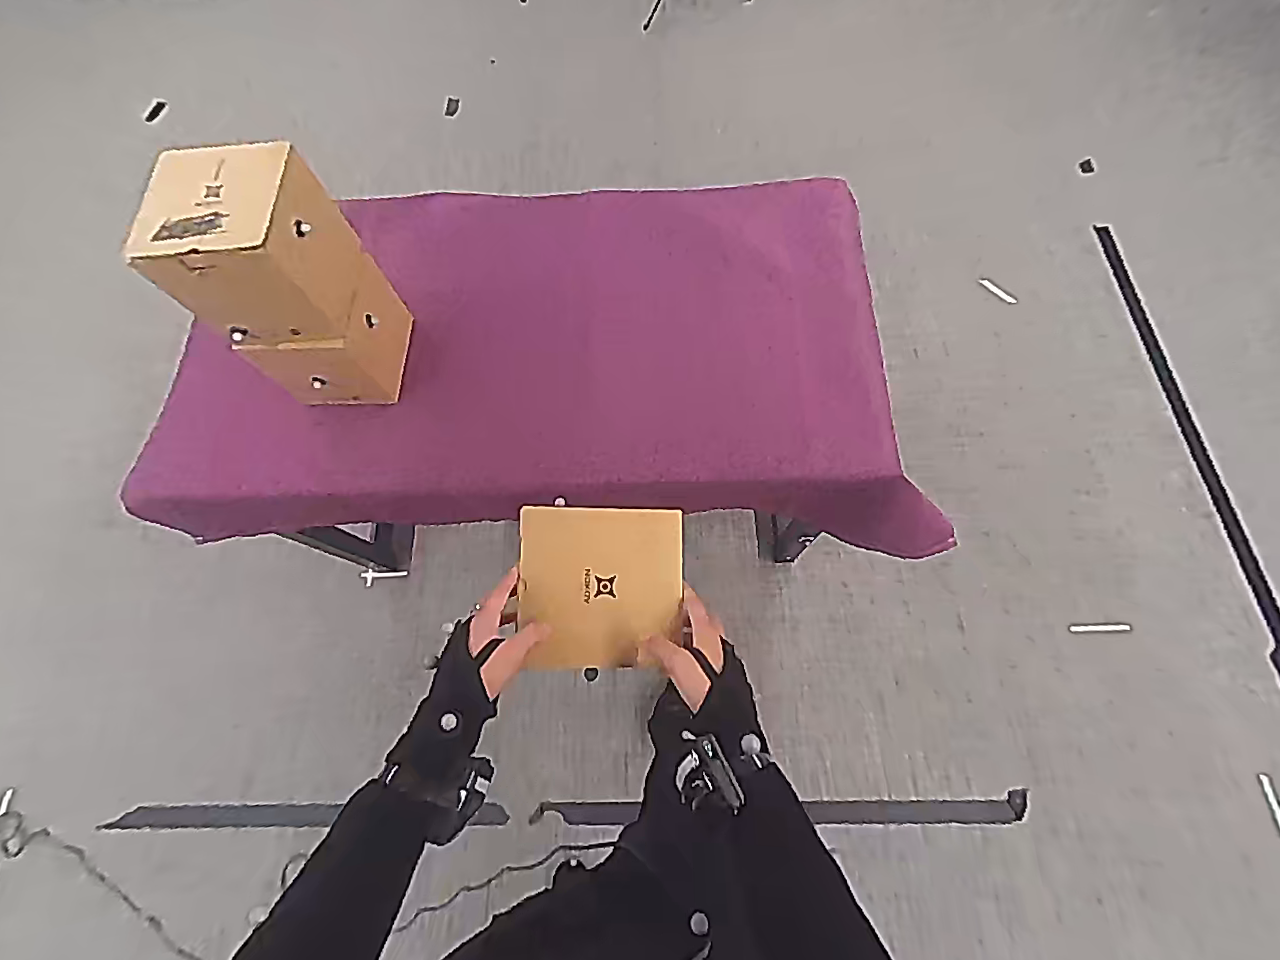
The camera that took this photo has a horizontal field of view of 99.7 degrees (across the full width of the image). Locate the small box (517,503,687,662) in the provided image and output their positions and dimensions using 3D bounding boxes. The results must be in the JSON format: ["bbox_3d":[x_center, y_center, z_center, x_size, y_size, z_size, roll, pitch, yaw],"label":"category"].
[{"bbox_3d":[-0.044,0.121,0.646,0.179,0.176,0.168,1,79,-3],"label":"small box"}]

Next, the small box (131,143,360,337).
[{"bbox_3d":[-0.499,-0.304,0.717,0.168,0.176,0.179,-3,69,1],"label":"small box"}]

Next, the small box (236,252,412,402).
[{"bbox_3d":[-0.488,-0.236,0.867,0.168,0.176,0.179,1,70,2],"label":"small box"}]
